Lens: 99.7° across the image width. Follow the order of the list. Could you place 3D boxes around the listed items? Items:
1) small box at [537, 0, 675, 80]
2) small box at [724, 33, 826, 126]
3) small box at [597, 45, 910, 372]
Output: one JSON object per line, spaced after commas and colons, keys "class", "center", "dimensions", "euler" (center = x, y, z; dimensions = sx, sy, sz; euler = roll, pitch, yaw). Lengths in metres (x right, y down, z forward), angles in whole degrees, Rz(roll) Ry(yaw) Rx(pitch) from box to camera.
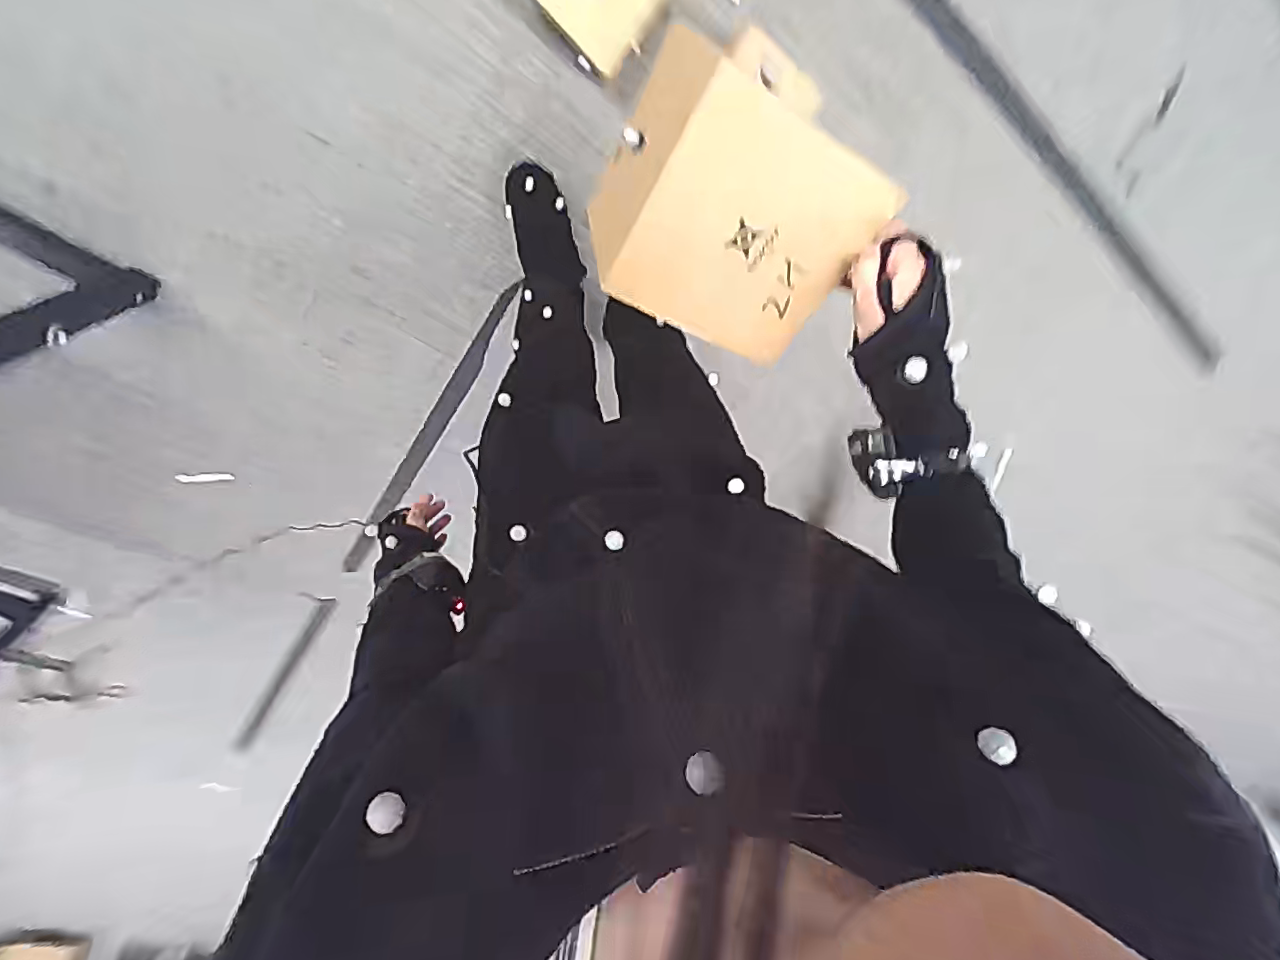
{"class": "small box", "center": [-0.057, -0.778, 0.864], "dimensions": [0.179, 0.176, 0.168], "euler": [35, 115, -26]}
{"class": "small box", "center": [0.193, -0.649, 0.976], "dimensions": [0.168, 0.176, 0.179], "euler": [29, 117, -23]}
{"class": "small box", "center": [0.075, -0.227, 0.458], "dimensions": [0.179, 0.176, 0.168], "euler": [16, 131, -26]}
